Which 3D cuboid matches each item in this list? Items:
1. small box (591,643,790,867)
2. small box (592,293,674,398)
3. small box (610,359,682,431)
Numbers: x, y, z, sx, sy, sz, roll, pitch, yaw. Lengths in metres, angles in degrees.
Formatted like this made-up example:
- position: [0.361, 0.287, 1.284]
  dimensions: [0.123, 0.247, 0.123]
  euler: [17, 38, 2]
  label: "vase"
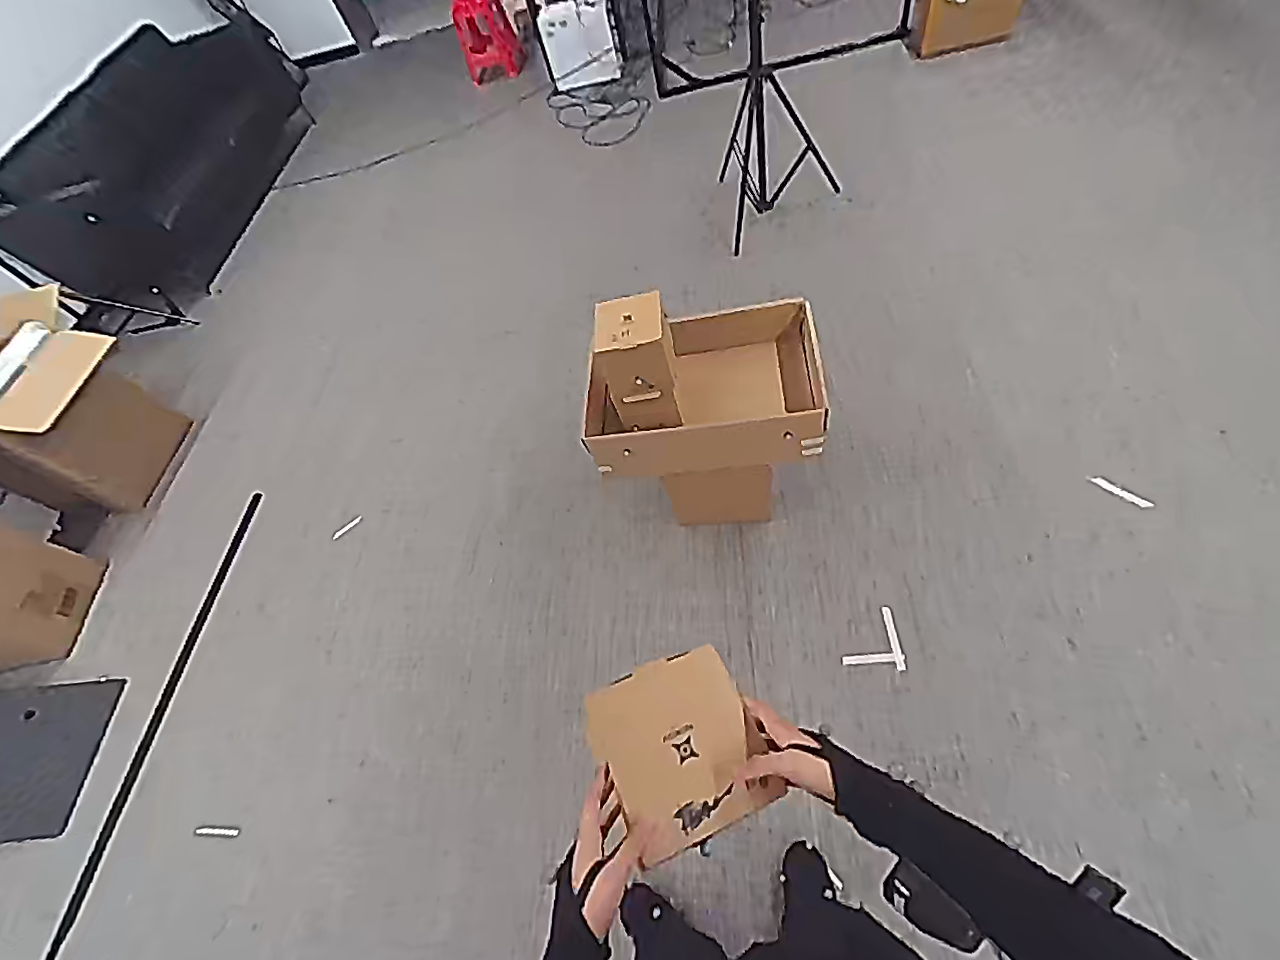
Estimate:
- position: [0.043, 0.327, 0.643]
  dimensions: [0.168, 0.176, 0.179]
  euler: [-17, 56, -16]
  label: "small box"
- position: [-0.013, -0.332, 1.352]
  dimensions: [0.168, 0.176, 0.179]
  euler: [-9, 57, 12]
  label: "small box"
- position: [0.021, -0.250, 1.491]
  dimensions: [0.168, 0.176, 0.179]
  euler: [-7, 56, 12]
  label: "small box"
